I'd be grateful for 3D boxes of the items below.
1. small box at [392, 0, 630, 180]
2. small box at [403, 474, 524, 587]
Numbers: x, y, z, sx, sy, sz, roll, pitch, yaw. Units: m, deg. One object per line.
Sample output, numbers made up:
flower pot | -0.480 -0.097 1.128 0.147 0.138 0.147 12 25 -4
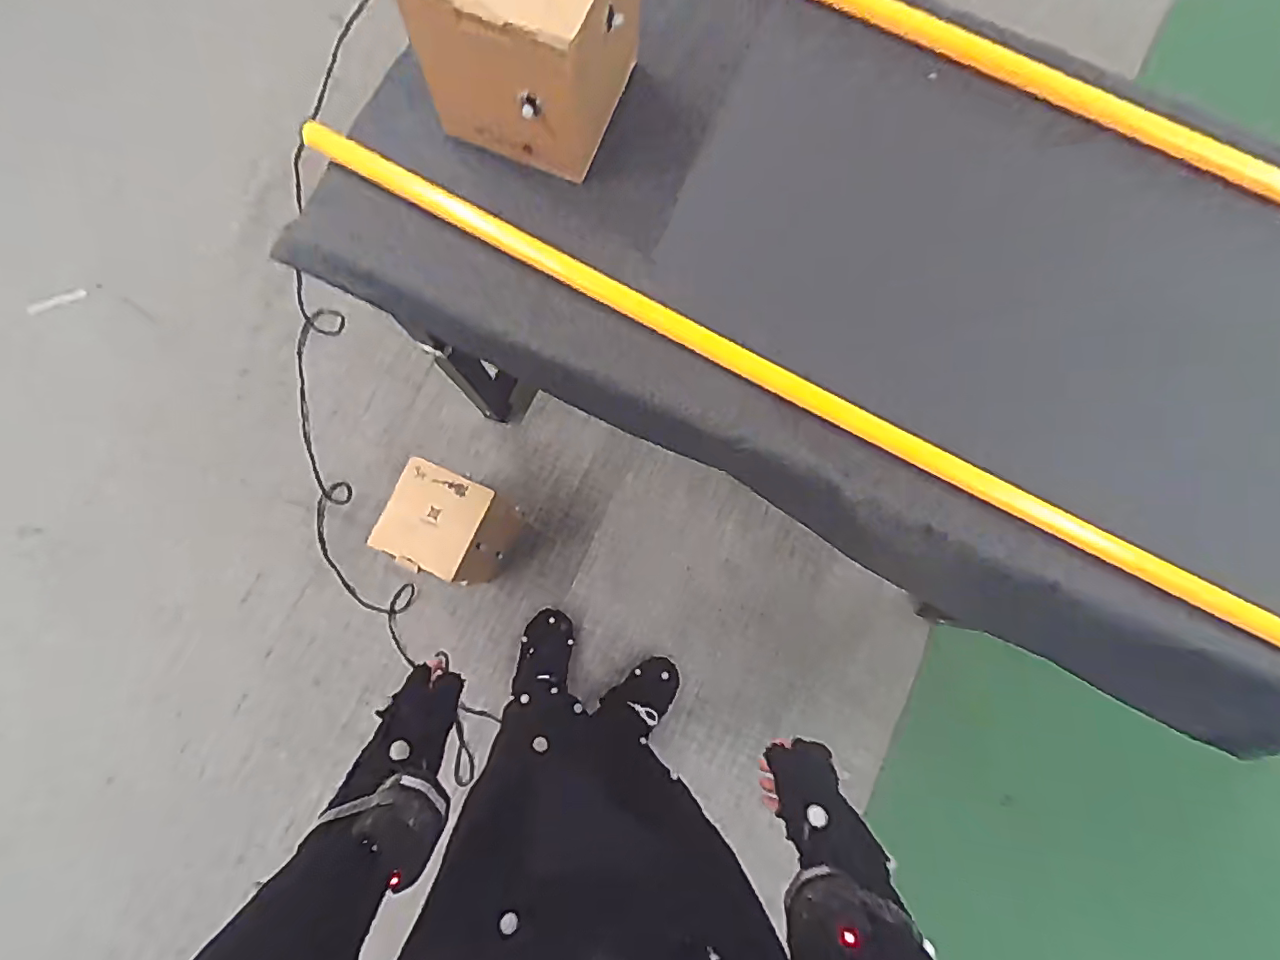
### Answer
small box | -0.110 -0.446 0.540 0.168 0.176 0.179 21 79 -1
small box | -0.371 0.112 1.179 0.168 0.176 0.179 33 82 4
